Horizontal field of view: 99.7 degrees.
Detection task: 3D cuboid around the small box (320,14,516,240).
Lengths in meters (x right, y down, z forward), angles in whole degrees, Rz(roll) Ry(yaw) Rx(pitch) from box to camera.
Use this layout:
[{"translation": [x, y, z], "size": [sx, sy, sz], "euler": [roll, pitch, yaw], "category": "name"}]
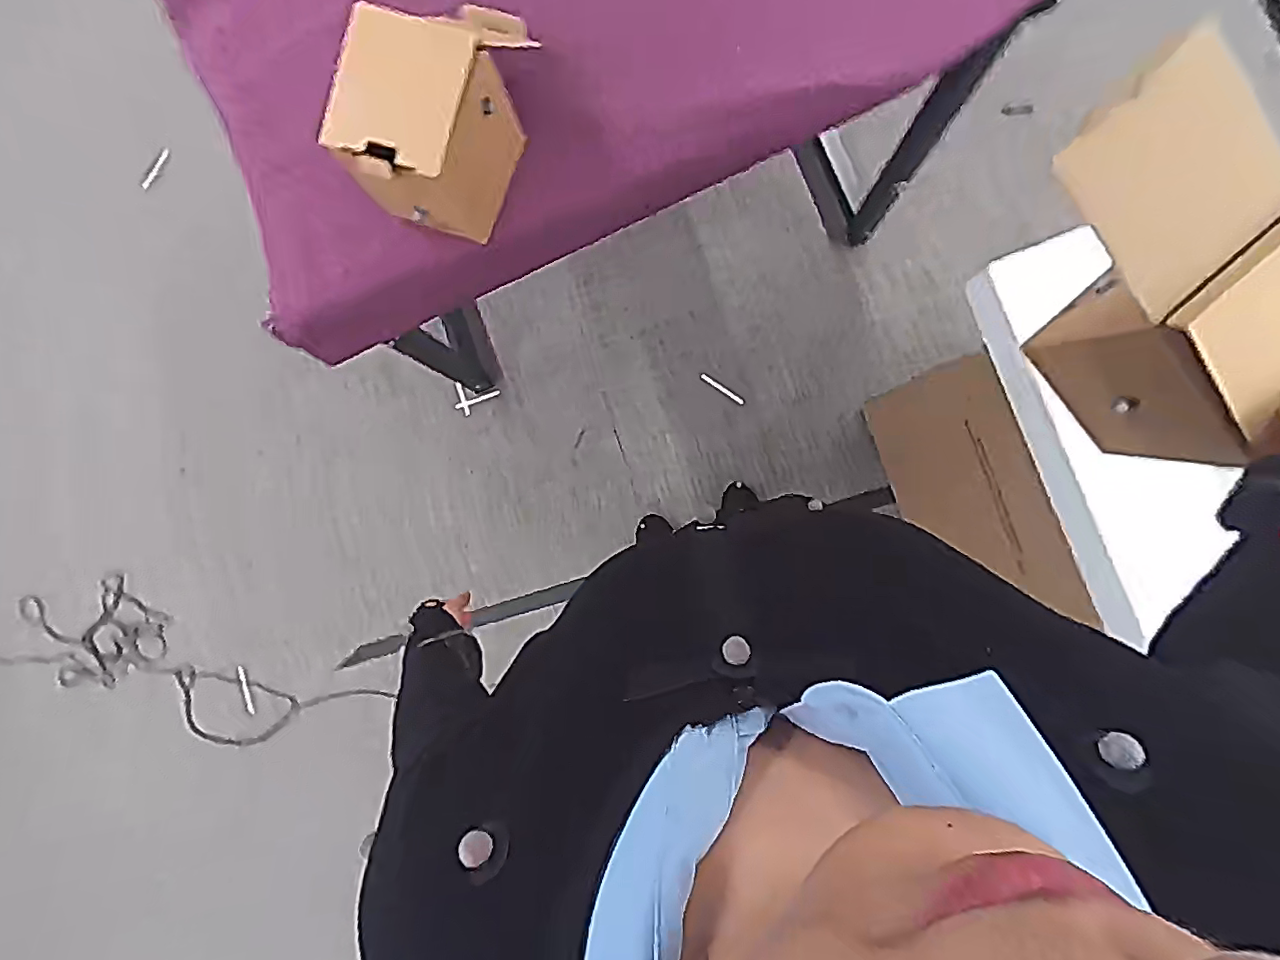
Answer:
[{"translation": [-0.288, -0.471, 0.745], "size": [0.168, 0.176, 0.179], "euler": [19, 89, 6], "category": "small box"}]
